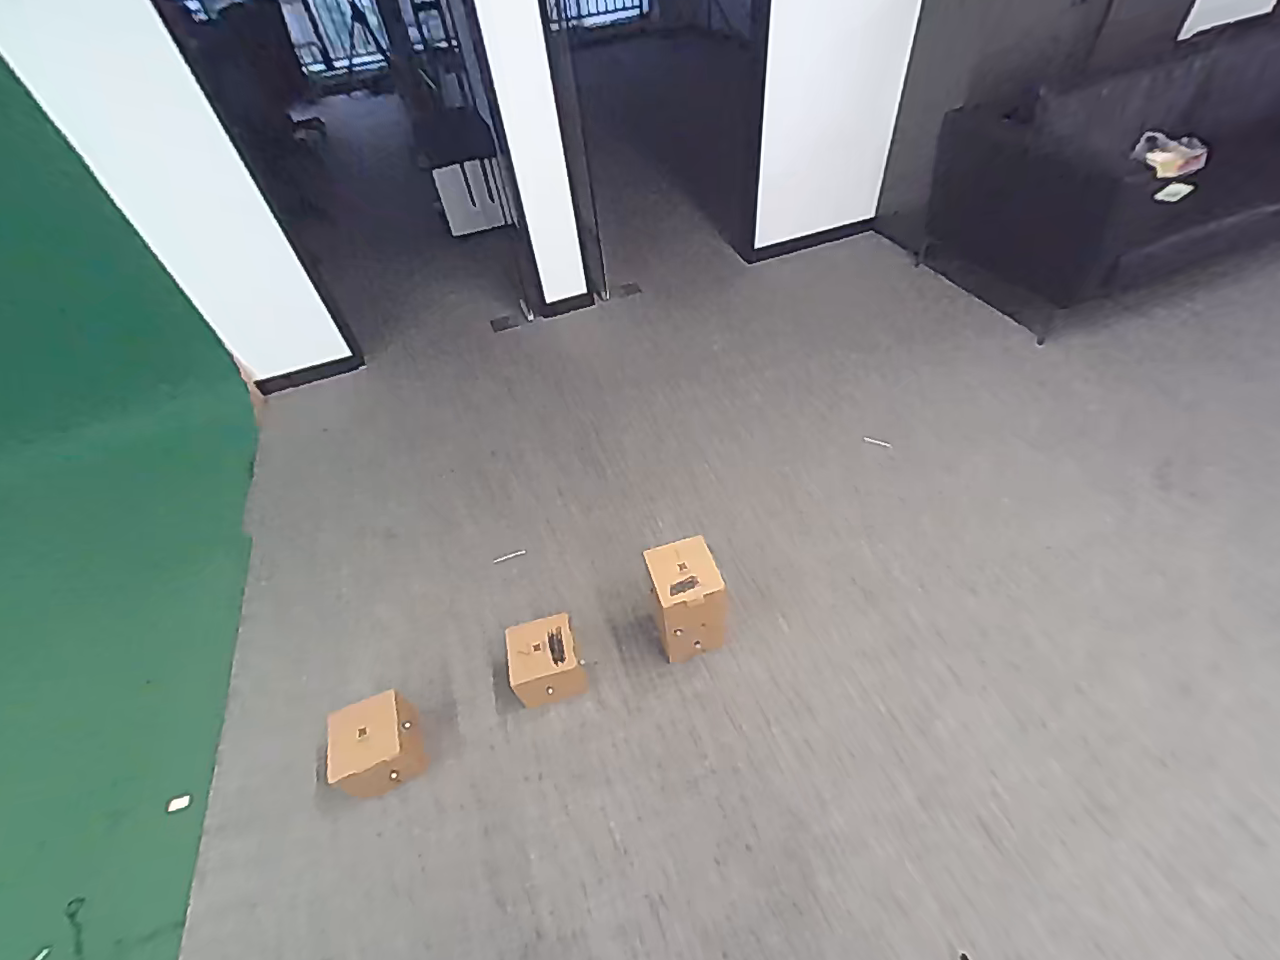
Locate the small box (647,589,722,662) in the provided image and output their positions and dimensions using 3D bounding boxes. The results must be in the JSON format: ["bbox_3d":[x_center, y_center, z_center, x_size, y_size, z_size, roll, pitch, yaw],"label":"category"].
[{"bbox_3d":[0.127,0.398,1.540,0.168,0.176,0.179,-16,48,-9],"label":"small box"}]

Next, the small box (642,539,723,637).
[{"bbox_3d":[0.112,0.289,1.416,0.168,0.176,0.179,-15,47,-8],"label":"small box"}]

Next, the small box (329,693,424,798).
[{"bbox_3d":[-0.665,0.681,1.374,0.168,0.176,0.179,-19,47,-12],"label":"small box"}]
